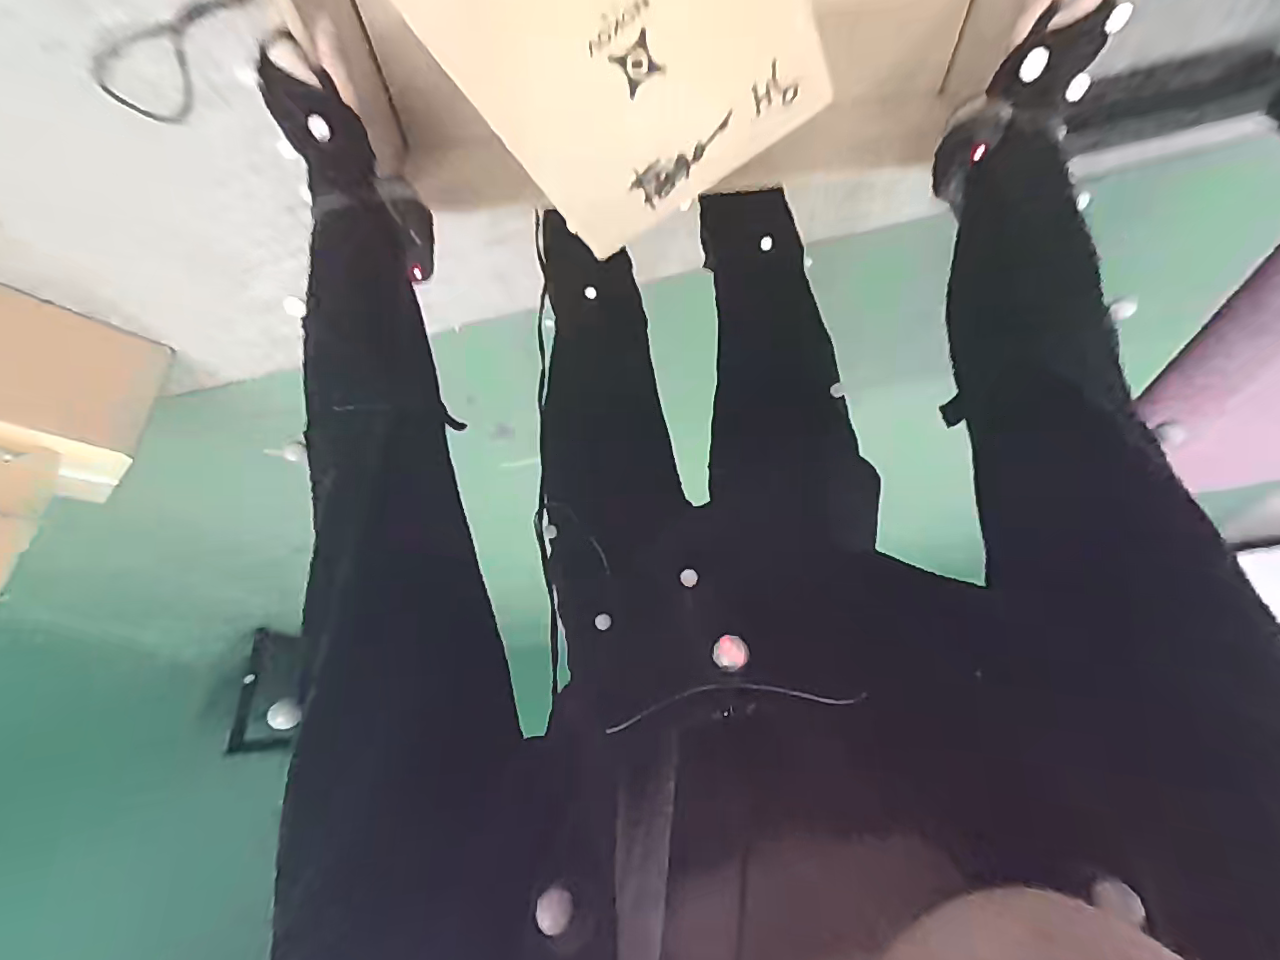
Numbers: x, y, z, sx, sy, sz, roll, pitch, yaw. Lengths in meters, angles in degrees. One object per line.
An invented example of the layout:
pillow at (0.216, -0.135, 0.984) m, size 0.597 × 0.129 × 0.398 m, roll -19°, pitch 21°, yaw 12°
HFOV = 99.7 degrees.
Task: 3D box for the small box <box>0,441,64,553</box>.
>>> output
small box at (-1.323, 0.029, 1.101) m, size 0.168 × 0.176 × 0.179 m, roll 22°, pitch 141°, yaw -40°

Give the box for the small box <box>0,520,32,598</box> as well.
small box at (-1.300, 0.167, 1.014) m, size 0.179 × 0.176 × 0.168 m, roll -27°, pitch 145°, yaw 32°

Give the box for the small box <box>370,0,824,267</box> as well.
small box at (-0.020, -0.273, 0.315) m, size 0.168 × 0.176 × 0.179 m, roll -25°, pitch 139°, yaw 23°
